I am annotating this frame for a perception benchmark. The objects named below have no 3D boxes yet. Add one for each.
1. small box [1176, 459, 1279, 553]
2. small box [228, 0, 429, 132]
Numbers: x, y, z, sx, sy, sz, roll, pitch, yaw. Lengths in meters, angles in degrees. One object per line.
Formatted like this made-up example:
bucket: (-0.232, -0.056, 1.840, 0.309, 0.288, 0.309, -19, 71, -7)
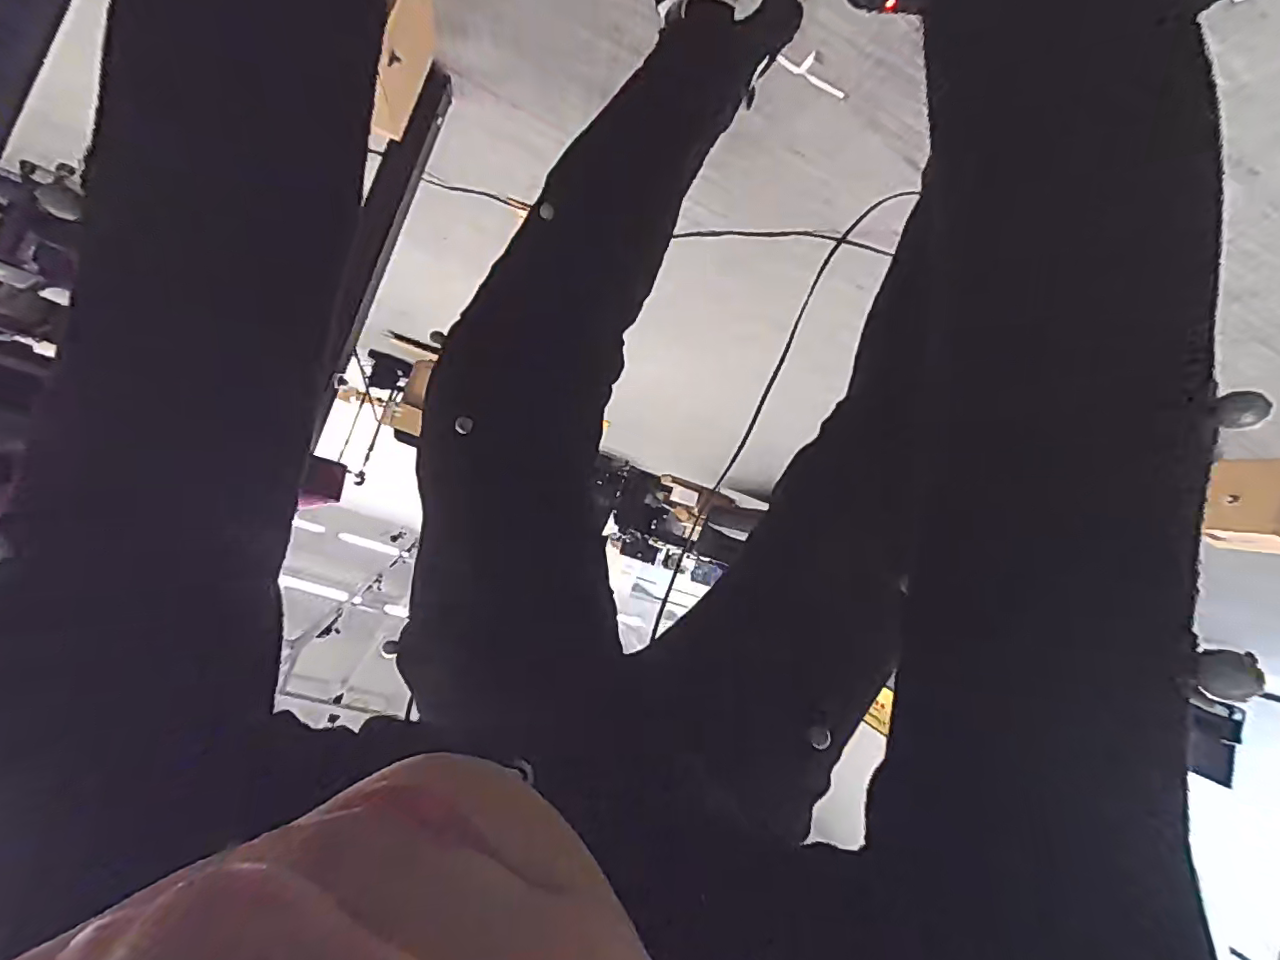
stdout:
small box: (1.381, 0.056, 1.215, 0.168, 0.176, 0.179, 20, 176, -15)
small box: (-0.385, -0.607, 0.691, 0.168, 0.176, 0.179, 20, 176, -14)
